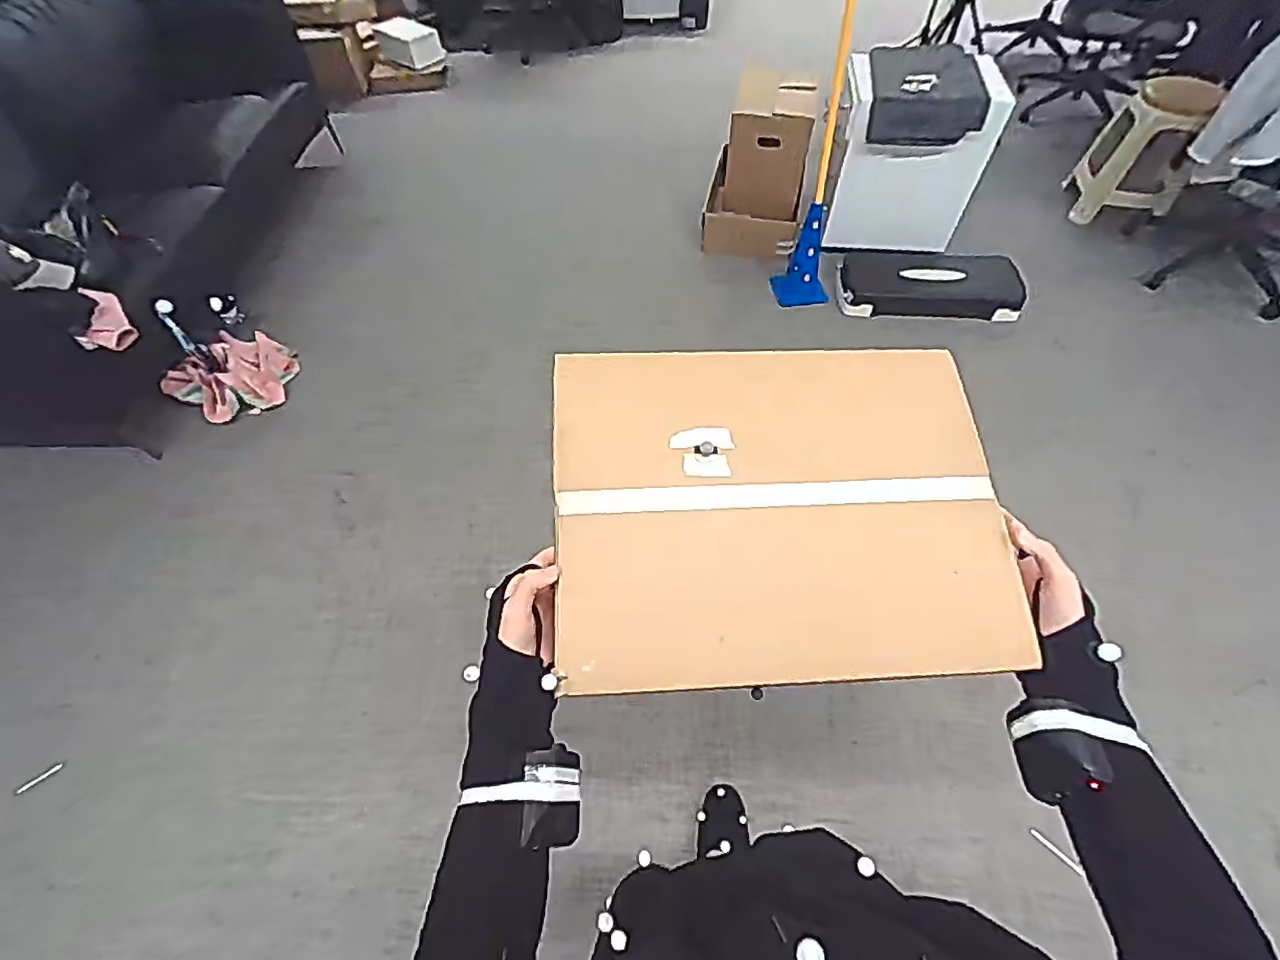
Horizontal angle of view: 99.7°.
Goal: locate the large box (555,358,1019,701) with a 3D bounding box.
[{"bbox_3d":[0.118,0.076,0.644,0.408,0.320,0.320,-3,70,-3],"label":"large box"}]
